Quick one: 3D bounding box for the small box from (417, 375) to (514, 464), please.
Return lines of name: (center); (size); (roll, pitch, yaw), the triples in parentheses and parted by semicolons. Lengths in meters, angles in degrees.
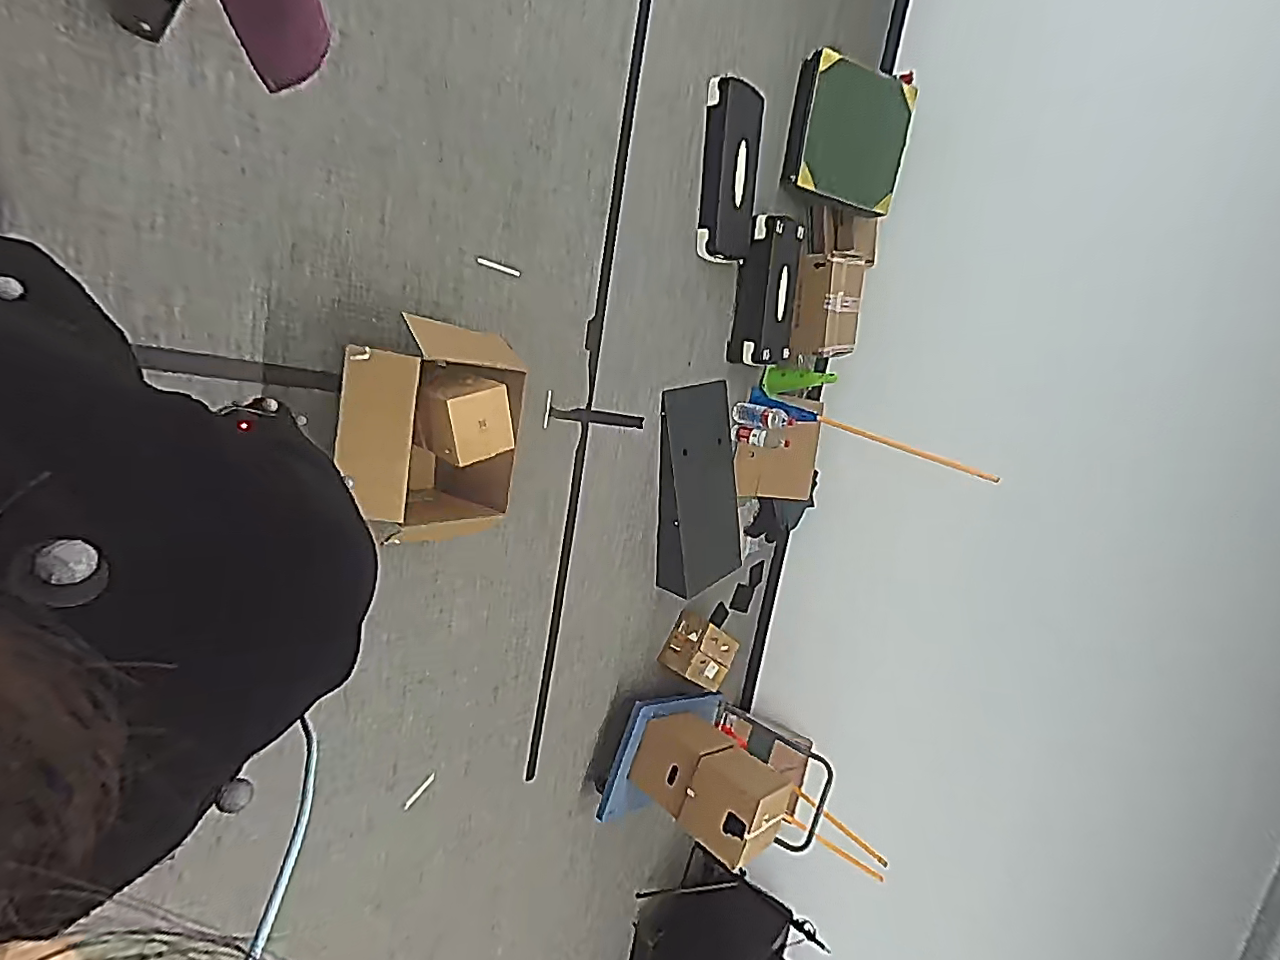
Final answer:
small box: (-0.450, -0.165, 1.396); (0.168, 0.176, 0.179); (-27, 127, -39)
